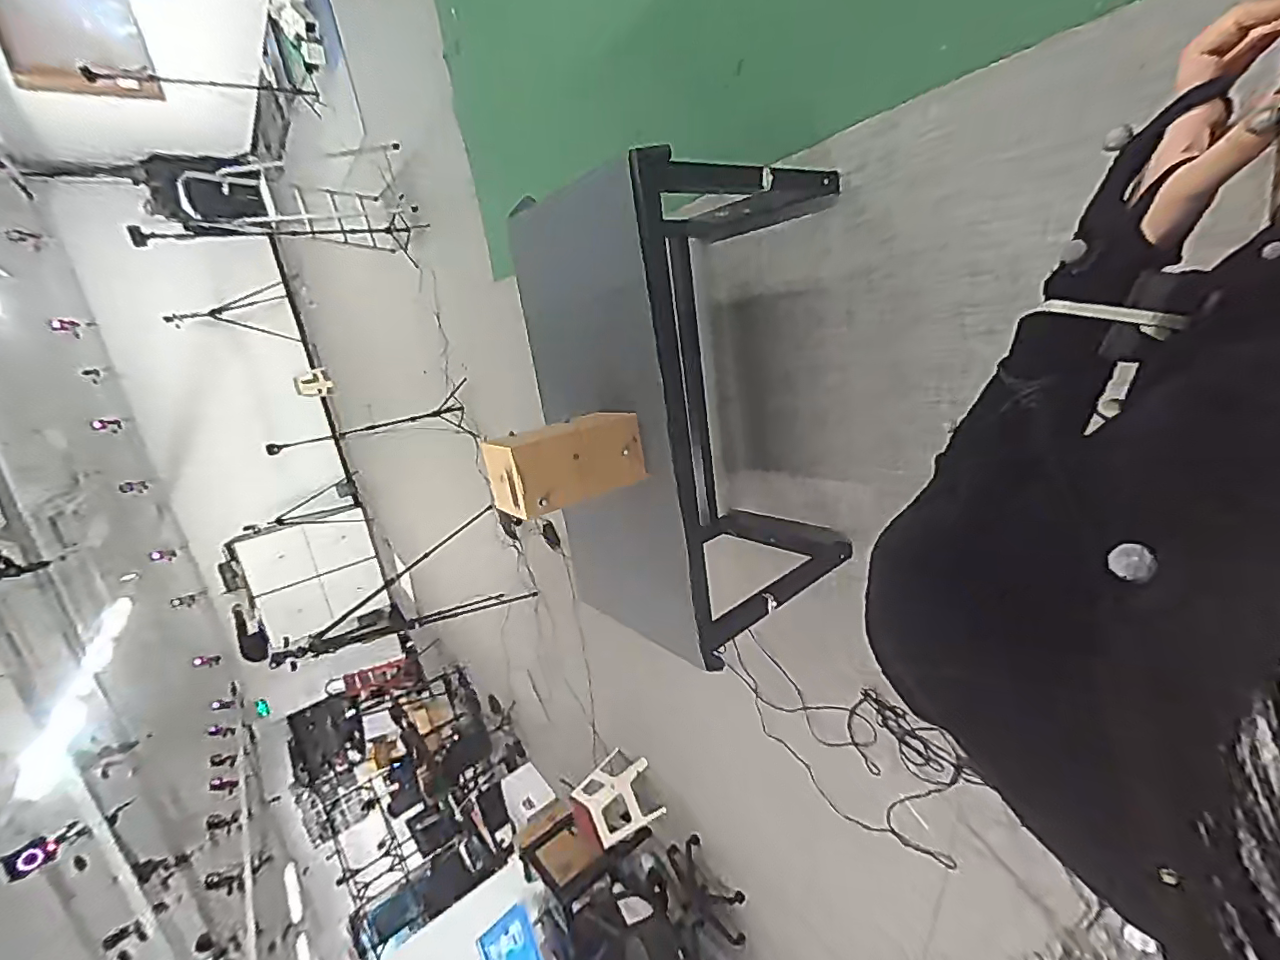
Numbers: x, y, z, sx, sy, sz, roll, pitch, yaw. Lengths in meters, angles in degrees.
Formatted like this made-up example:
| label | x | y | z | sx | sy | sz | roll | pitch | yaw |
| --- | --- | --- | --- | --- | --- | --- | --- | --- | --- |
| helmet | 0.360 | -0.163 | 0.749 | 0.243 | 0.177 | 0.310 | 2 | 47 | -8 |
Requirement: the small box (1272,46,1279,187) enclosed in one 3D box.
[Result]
| label | x | y | z | sx | sy | sz | roll | pitch | yaw |
| --- | --- | --- | --- | --- | --- | --- | --- | --- | --- |
| small box | 0.405 | -0.239 | 0.231 | 0.168 | 0.176 | 0.179 | 3 | 106 | 47 |

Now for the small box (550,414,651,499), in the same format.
| label | x | y | z | sx | sy | sz | roll | pitch | yaw |
| --- | --- | --- | --- | --- | --- | --- | --- | --- | --- |
| small box | -0.098 | -0.065 | 1.349 | 0.179 | 0.176 | 0.168 | 9 | 115 | 52 |
